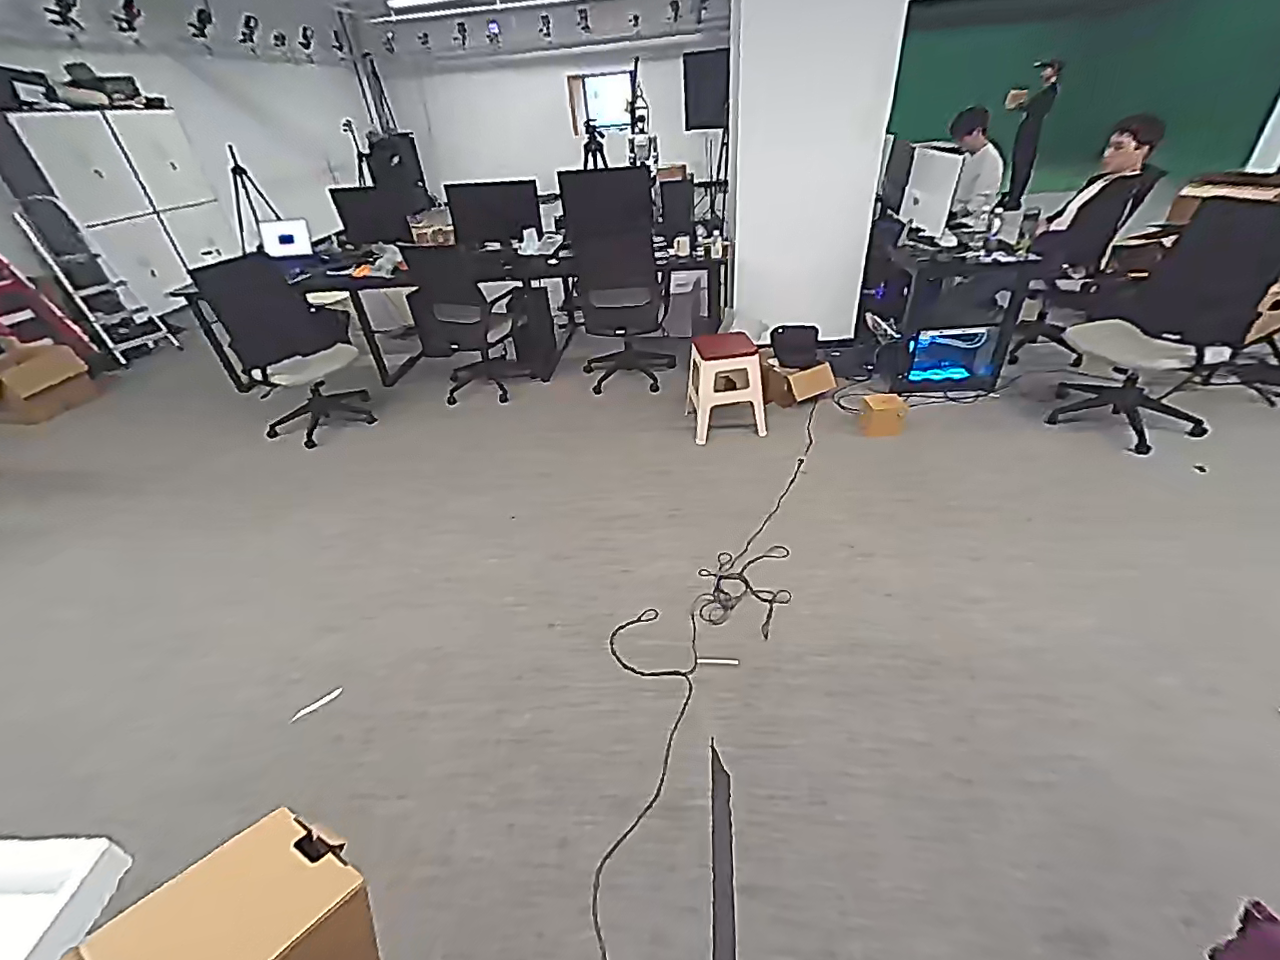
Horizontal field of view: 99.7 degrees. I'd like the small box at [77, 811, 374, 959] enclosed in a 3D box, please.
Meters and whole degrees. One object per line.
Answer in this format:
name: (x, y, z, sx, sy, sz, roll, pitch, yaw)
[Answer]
small box: (-0.382, 0.484, 0.524, 0.168, 0.176, 0.179, 10, 18, 31)
